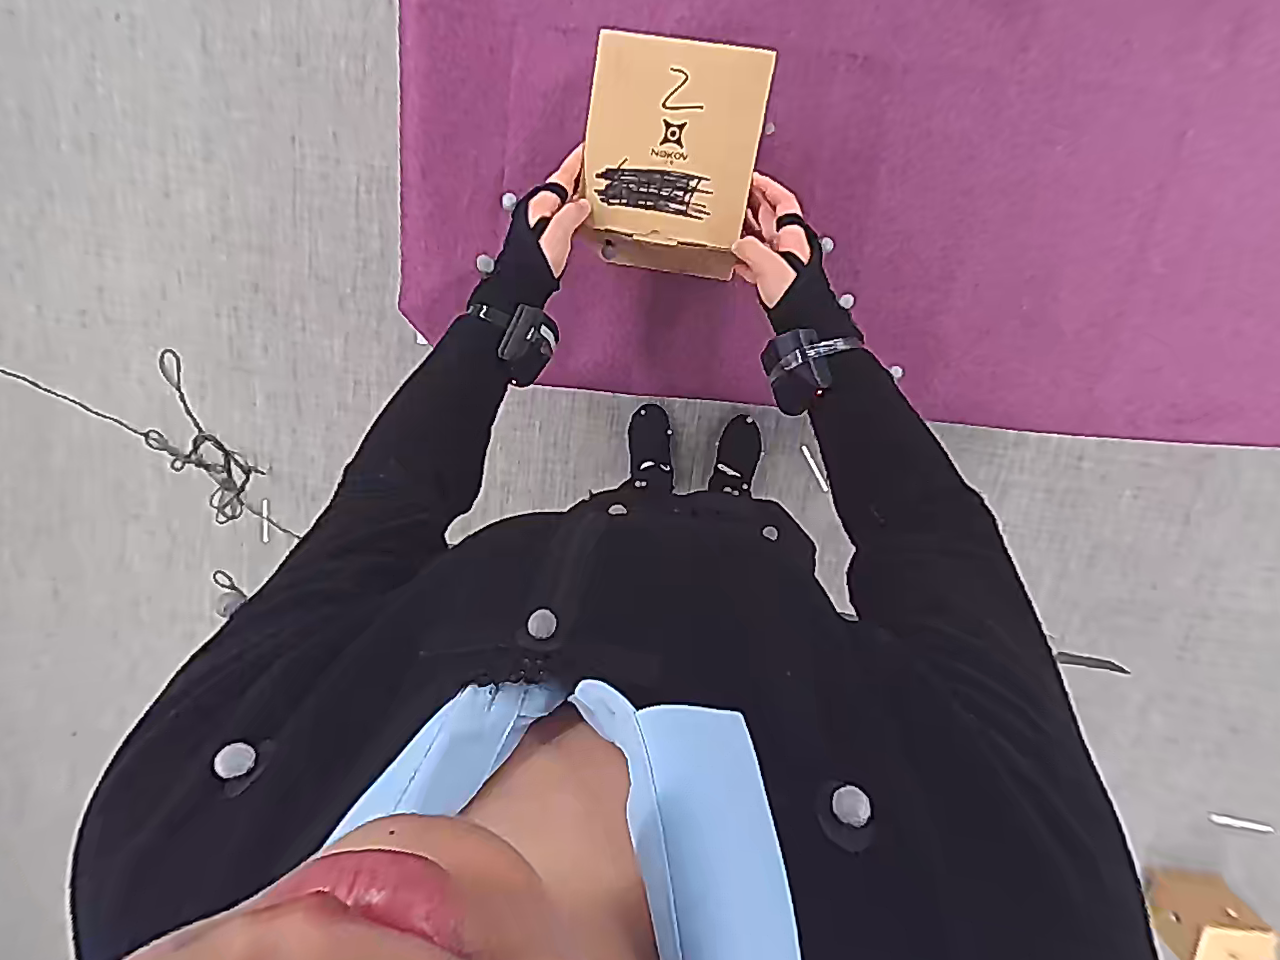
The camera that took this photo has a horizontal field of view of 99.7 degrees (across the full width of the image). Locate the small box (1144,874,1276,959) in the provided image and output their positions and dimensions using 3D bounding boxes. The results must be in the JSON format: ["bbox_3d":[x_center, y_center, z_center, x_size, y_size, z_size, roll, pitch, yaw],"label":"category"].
[{"bbox_3d":[1.545,1.222,1.480,0.179,0.176,0.168,1,101,6],"label":"small box"}]

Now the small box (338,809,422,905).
[{"bbox_3d":[-0.836,1.212,1.751,0.179,0.176,0.168,17,102,3],"label":"small box"}]
